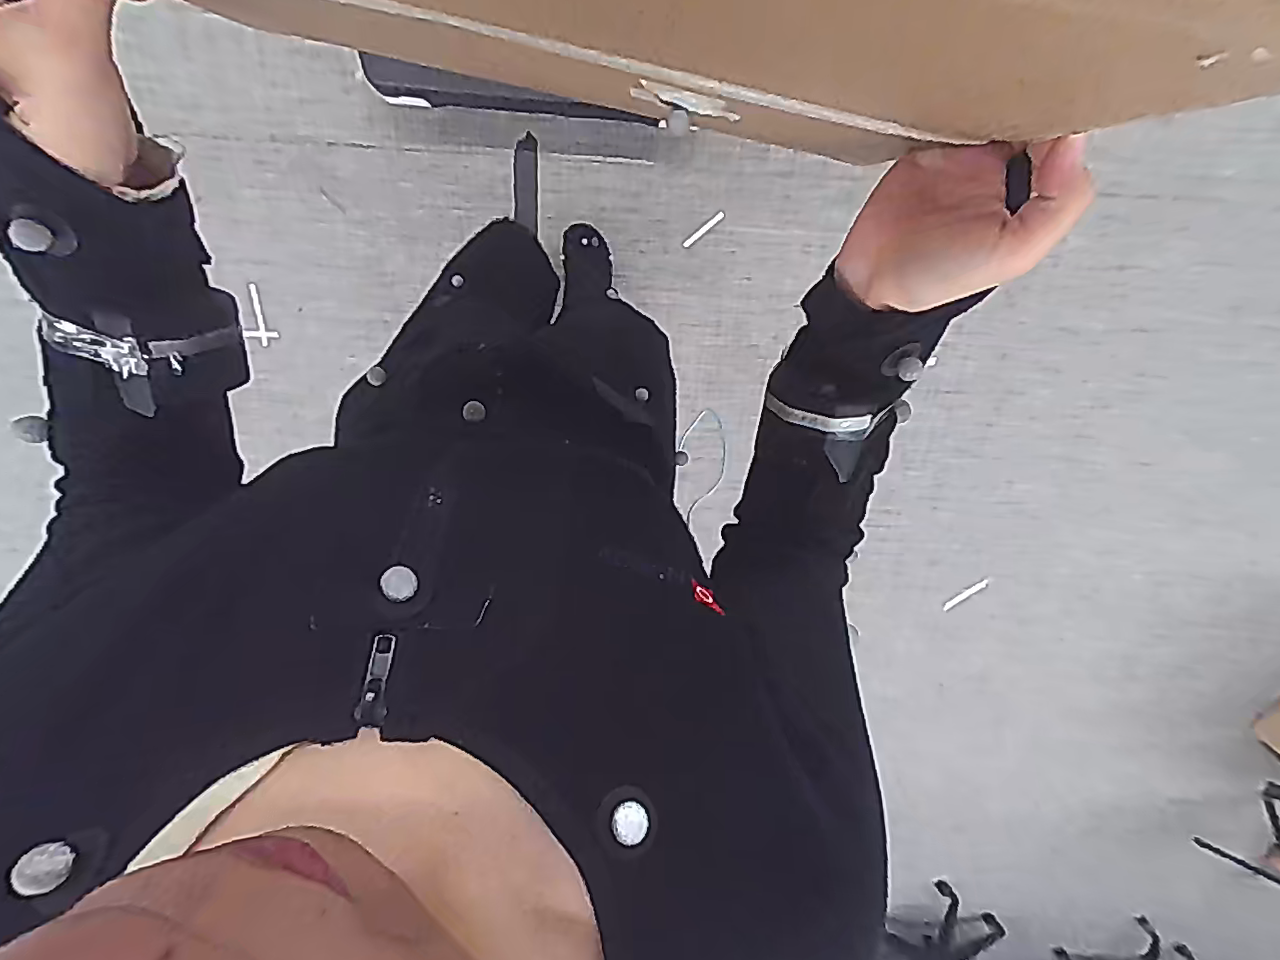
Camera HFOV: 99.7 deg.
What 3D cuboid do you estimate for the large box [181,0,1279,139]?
[{"bbox_3d":[-0.029,-0.320,0.142,0.408,0.320,0.320,8,118,-5],"label":"large box"}]
